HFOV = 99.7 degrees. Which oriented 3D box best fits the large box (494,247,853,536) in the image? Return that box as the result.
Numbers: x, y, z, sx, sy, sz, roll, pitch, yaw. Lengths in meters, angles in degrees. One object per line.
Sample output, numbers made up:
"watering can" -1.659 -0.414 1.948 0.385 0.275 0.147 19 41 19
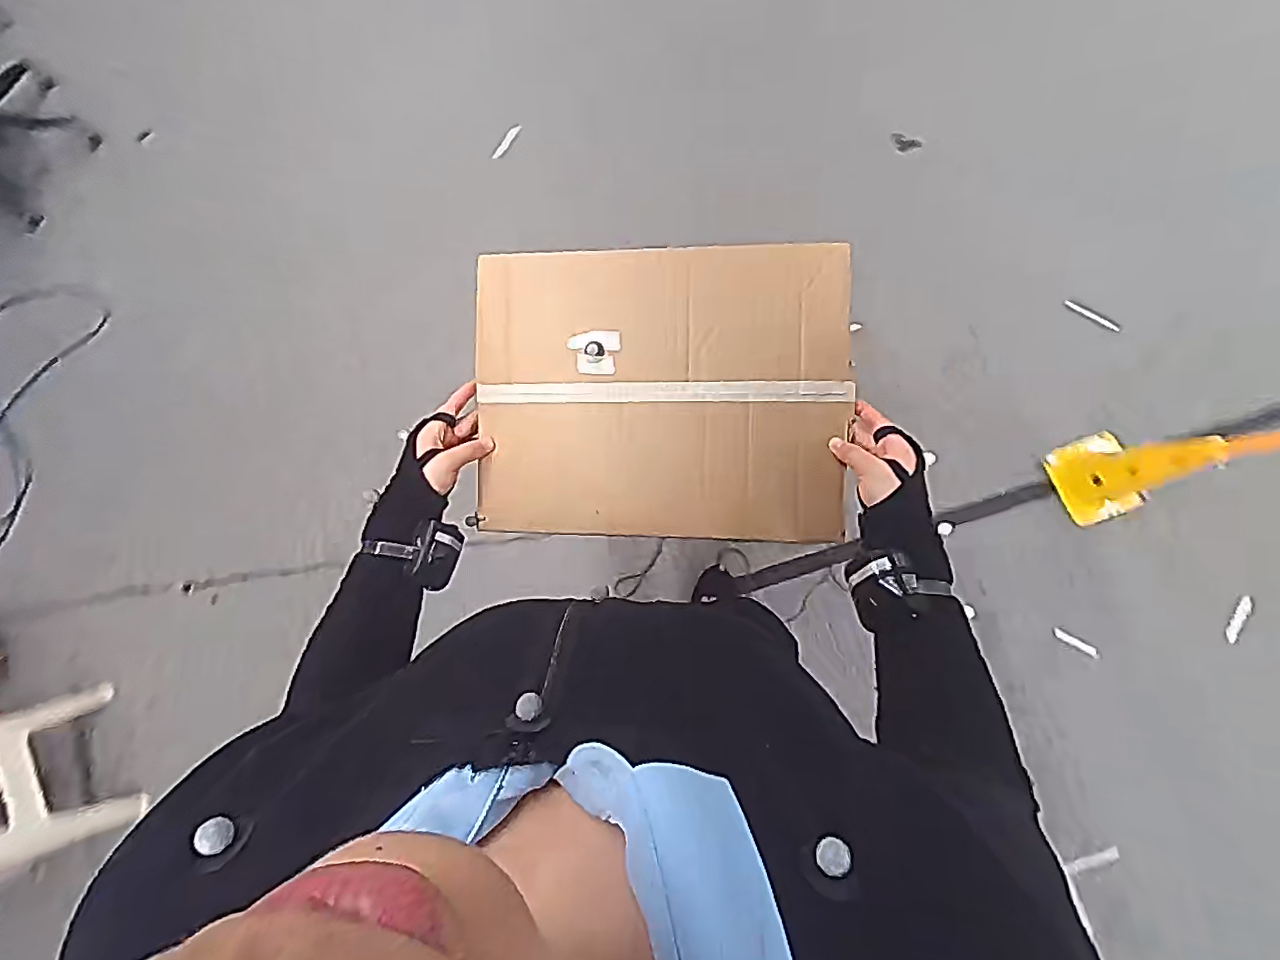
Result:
"large box" 0.050 -0.100 0.748 0.408 0.320 0.320 2 91 8
